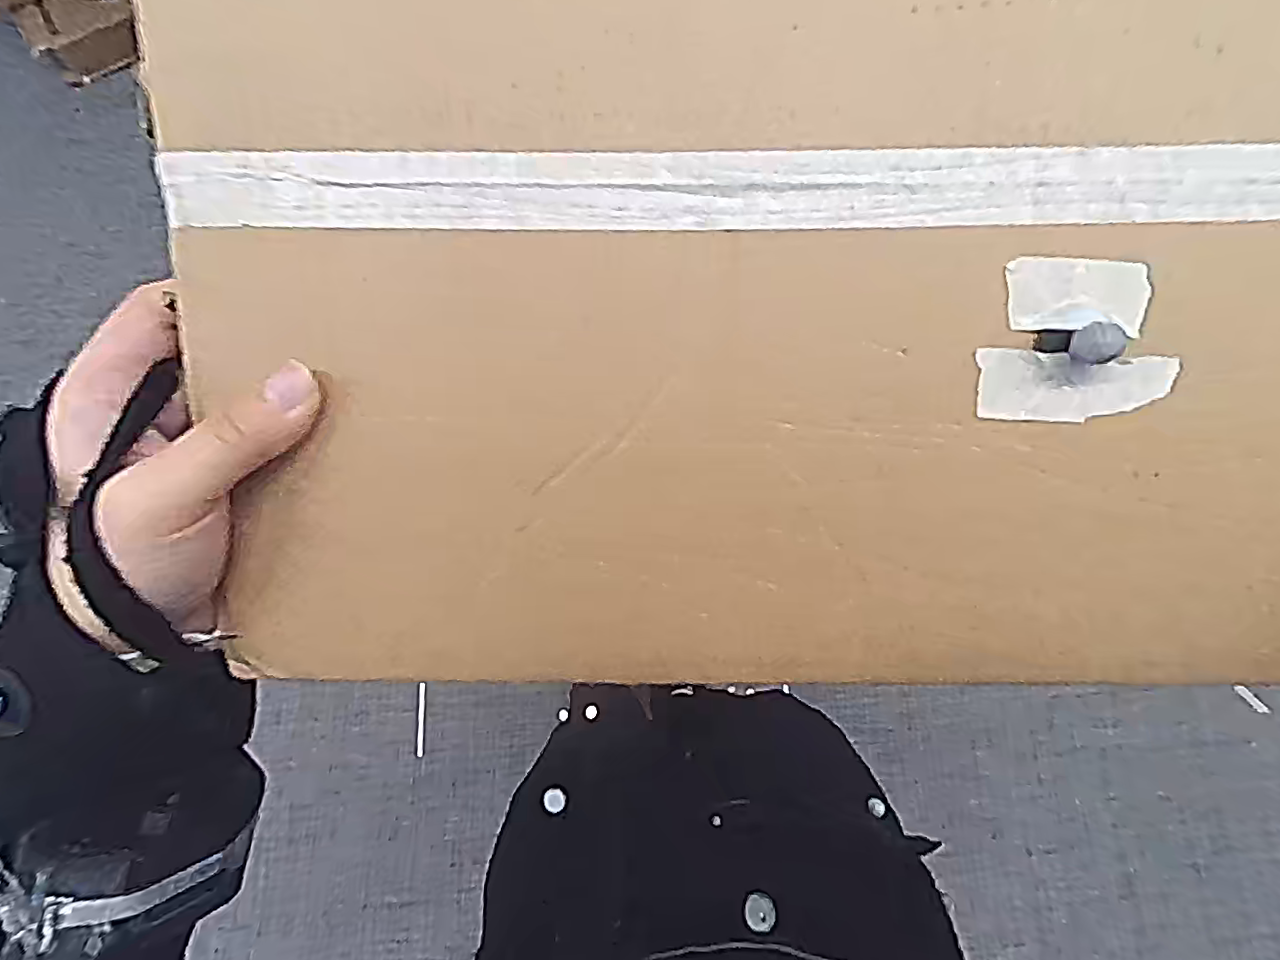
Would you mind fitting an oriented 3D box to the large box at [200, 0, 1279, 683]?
[{"bbox_3d":[0.063,-0.103,0.320,0.408,0.320,0.320,0,99,0],"label":"large box"}]
